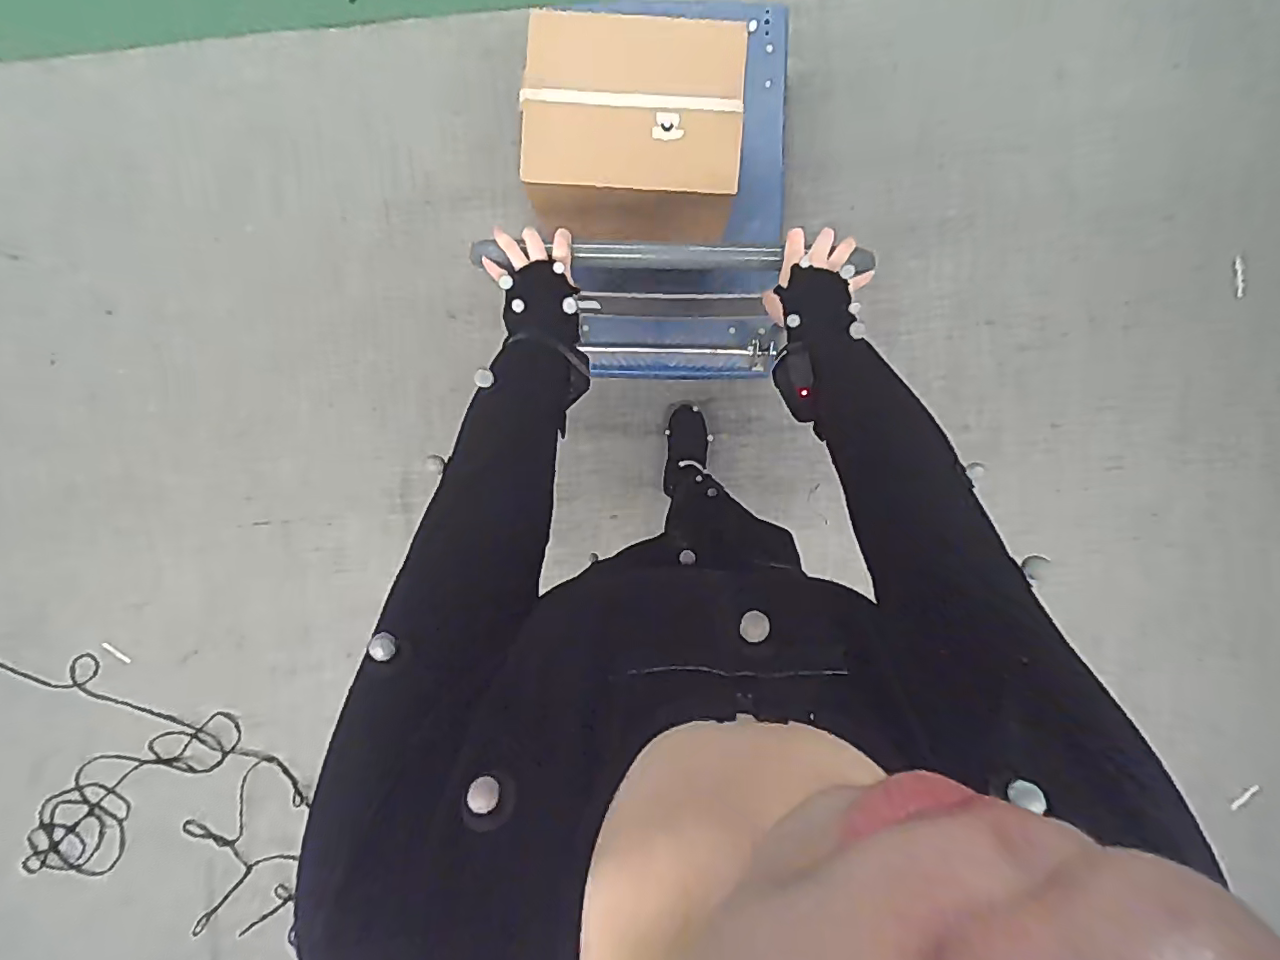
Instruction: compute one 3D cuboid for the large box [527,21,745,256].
[{"bbox_3d":[-0.010,-0.700,1.161,0.408,0.320,0.320,4,91,0],"label":"large box"}]
